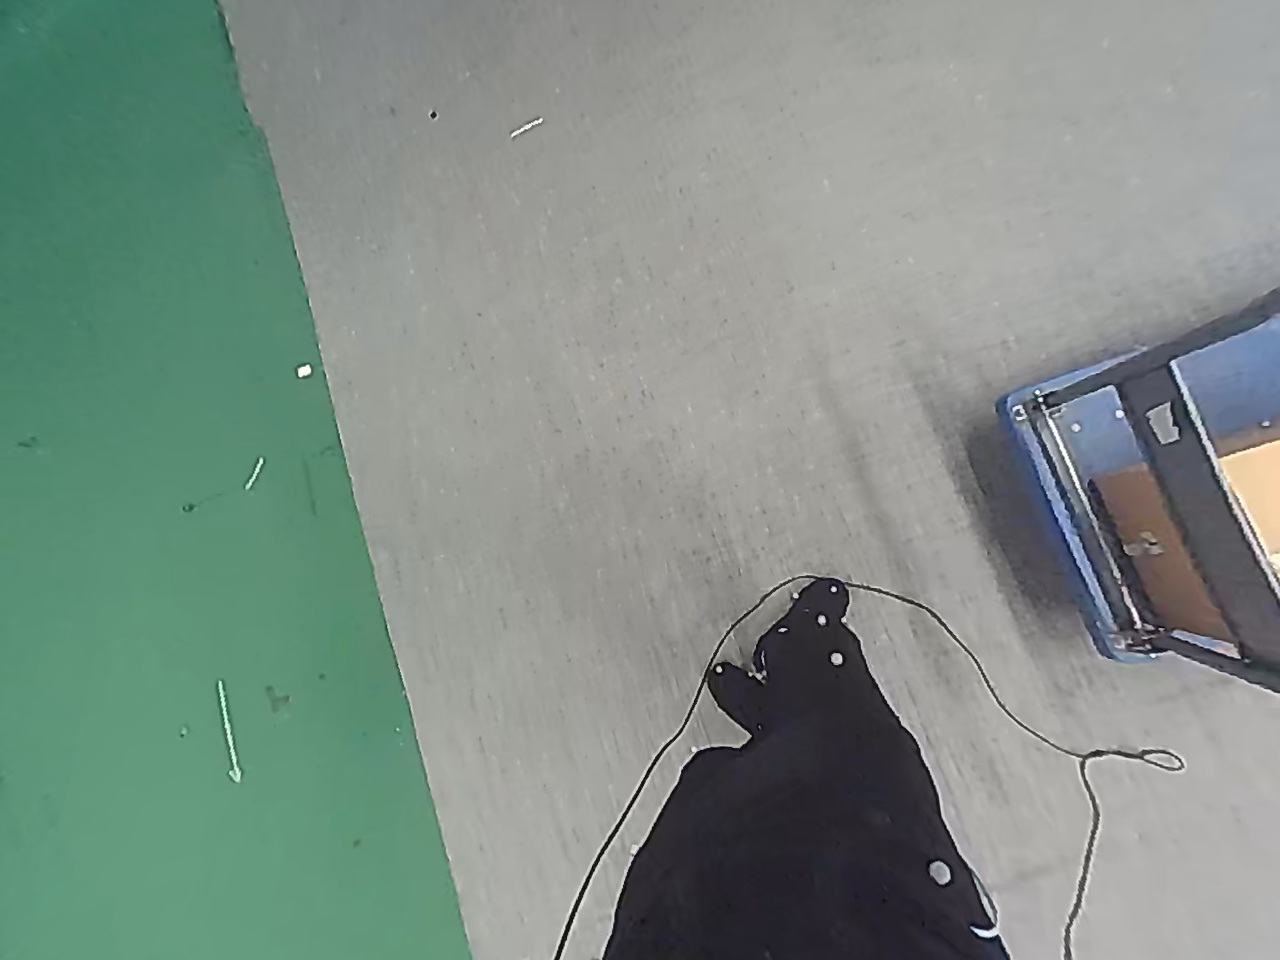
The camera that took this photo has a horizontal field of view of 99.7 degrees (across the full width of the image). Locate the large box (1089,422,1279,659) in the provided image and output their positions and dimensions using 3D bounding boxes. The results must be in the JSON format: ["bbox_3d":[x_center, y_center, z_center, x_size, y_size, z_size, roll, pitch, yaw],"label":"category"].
[{"bbox_3d":[1.098,0.068,0.891,0.408,0.320,0.320,-20,82,10],"label":"large box"}]
